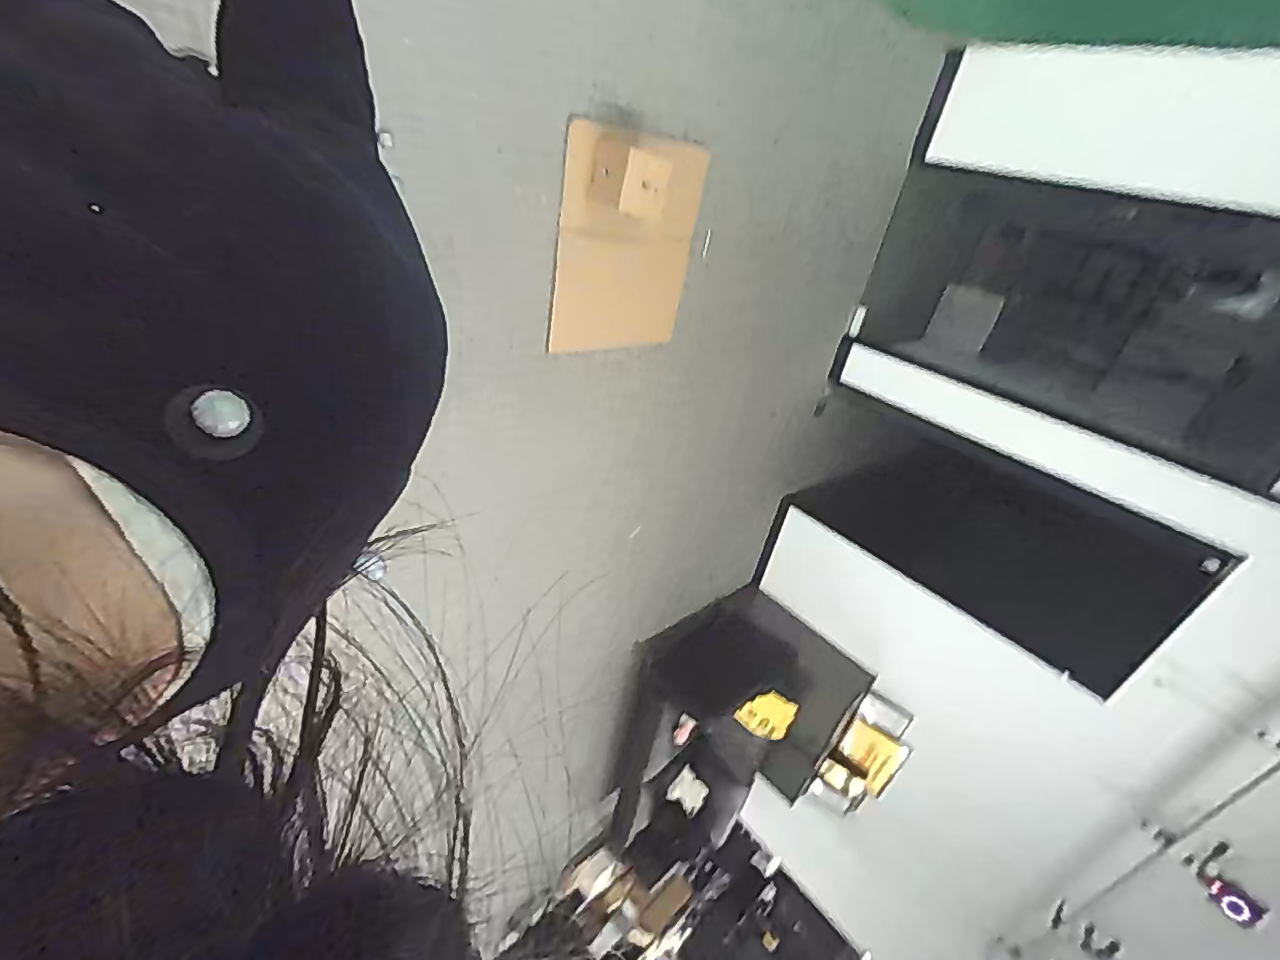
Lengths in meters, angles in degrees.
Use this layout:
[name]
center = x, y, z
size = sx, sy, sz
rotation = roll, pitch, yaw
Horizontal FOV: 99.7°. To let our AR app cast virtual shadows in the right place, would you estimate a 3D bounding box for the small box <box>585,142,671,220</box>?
[small box]
center = -0.041, -0.906, 1.635
size = 0.179, 0.176, 0.168
rotation = -12, 129, -43
